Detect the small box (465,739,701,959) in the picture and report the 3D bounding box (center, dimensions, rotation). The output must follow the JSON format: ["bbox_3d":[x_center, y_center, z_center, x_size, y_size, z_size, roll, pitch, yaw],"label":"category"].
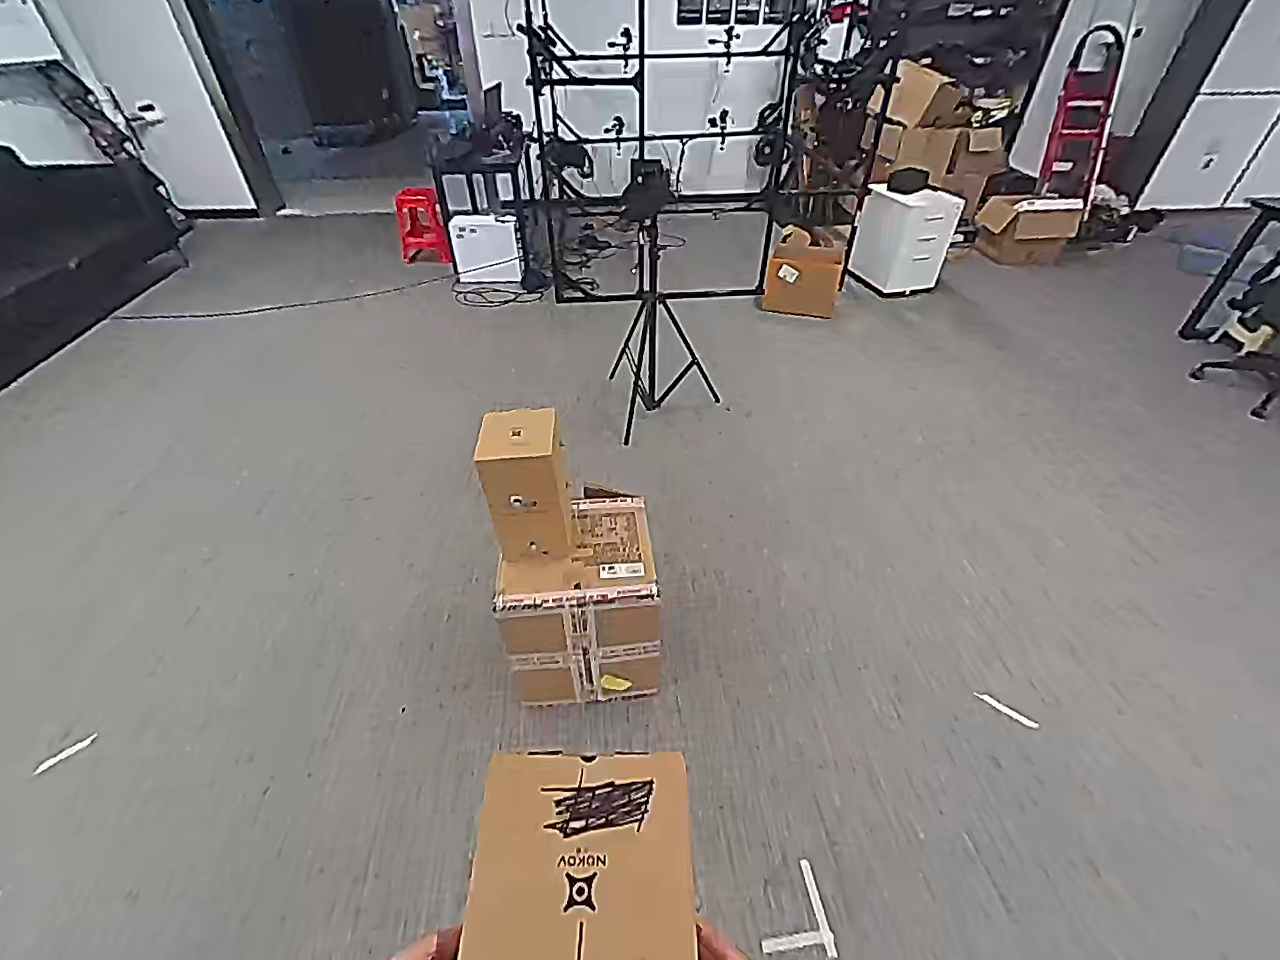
[{"bbox_3d":[-0.044,0.346,0.469,0.168,0.176,0.179,1,45,-3],"label":"small box"}]

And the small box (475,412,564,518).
[{"bbox_3d":[-0.269,-0.035,1.244,0.168,0.176,0.179,-5,43,-2],"label":"small box"}]

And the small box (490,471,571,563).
[{"bbox_3d":[-0.267,0.084,1.355,0.168,0.176,0.179,-5,43,-2],"label":"small box"}]
